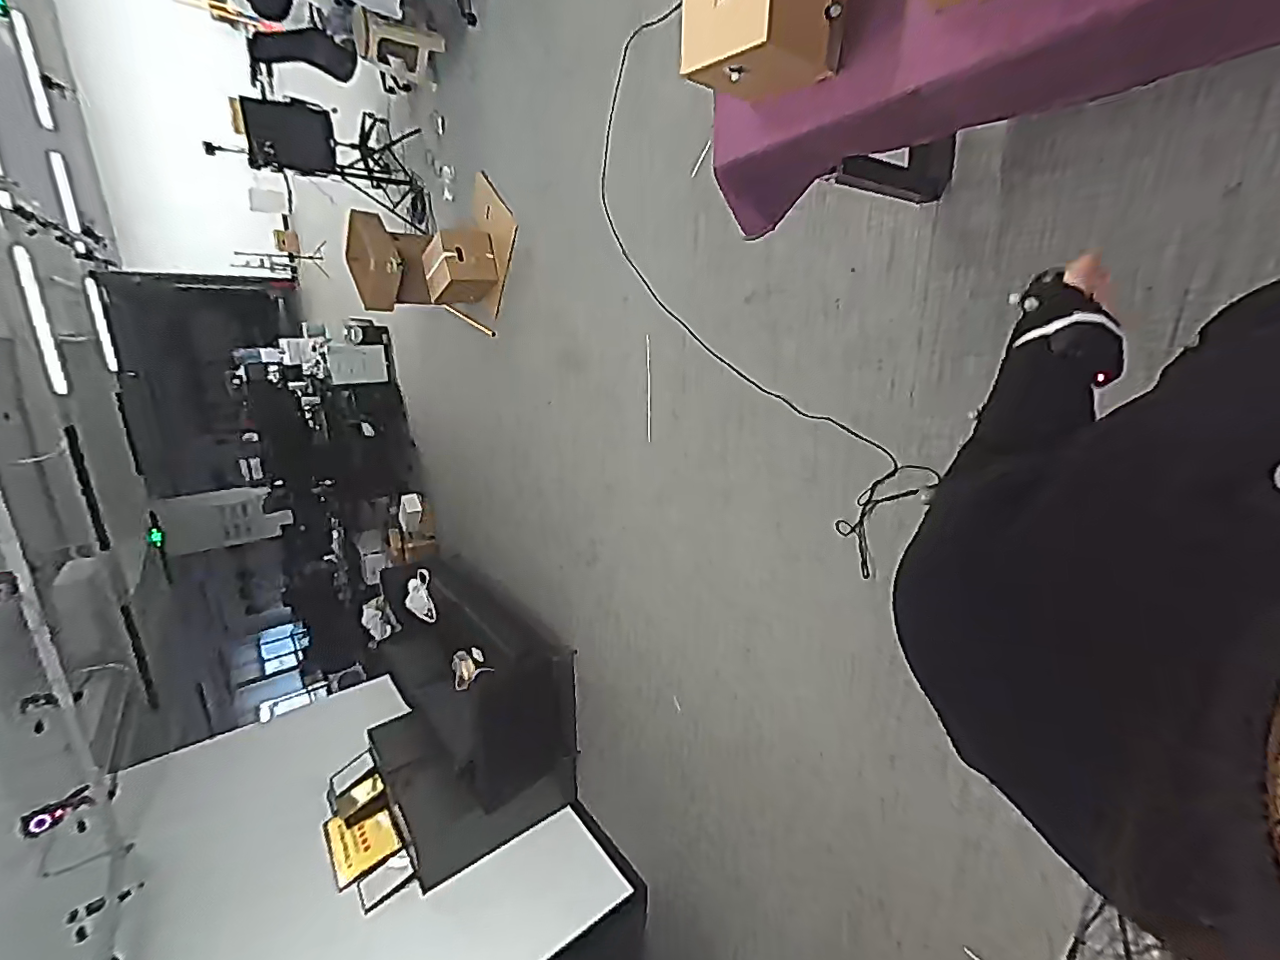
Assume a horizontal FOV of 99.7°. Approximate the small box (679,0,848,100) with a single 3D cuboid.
[{"bbox_3d":[0.181,-0.687,0.795,0.179,0.176,0.168,25,120,47],"label":"small box"}]
